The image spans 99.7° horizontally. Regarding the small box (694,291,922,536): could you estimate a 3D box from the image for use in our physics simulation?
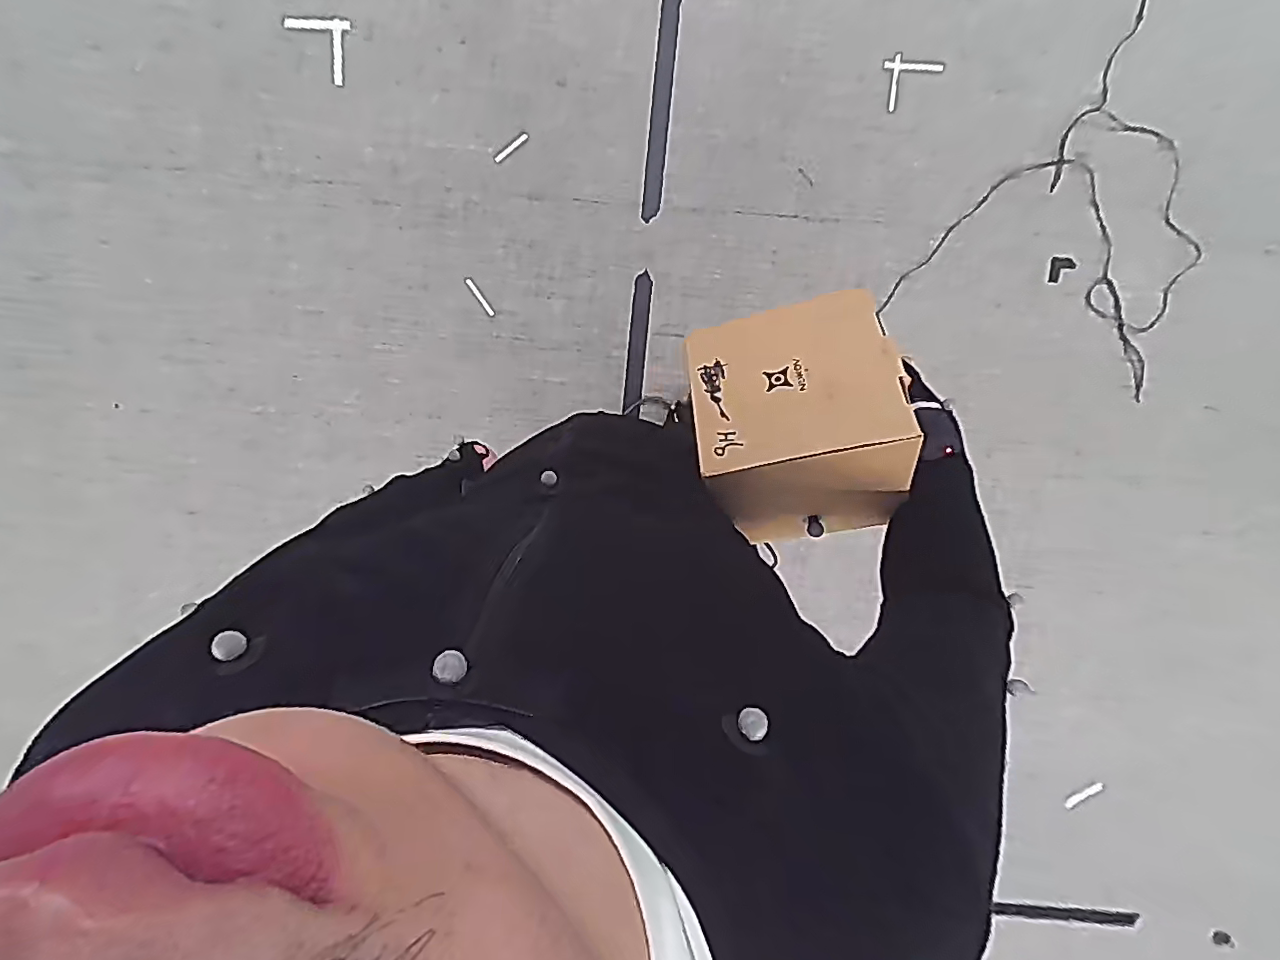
[{"bbox_3d":[0.162,-0.056,0.555,0.179,0.176,0.168,-11,59,14],"label":"small box"}]
